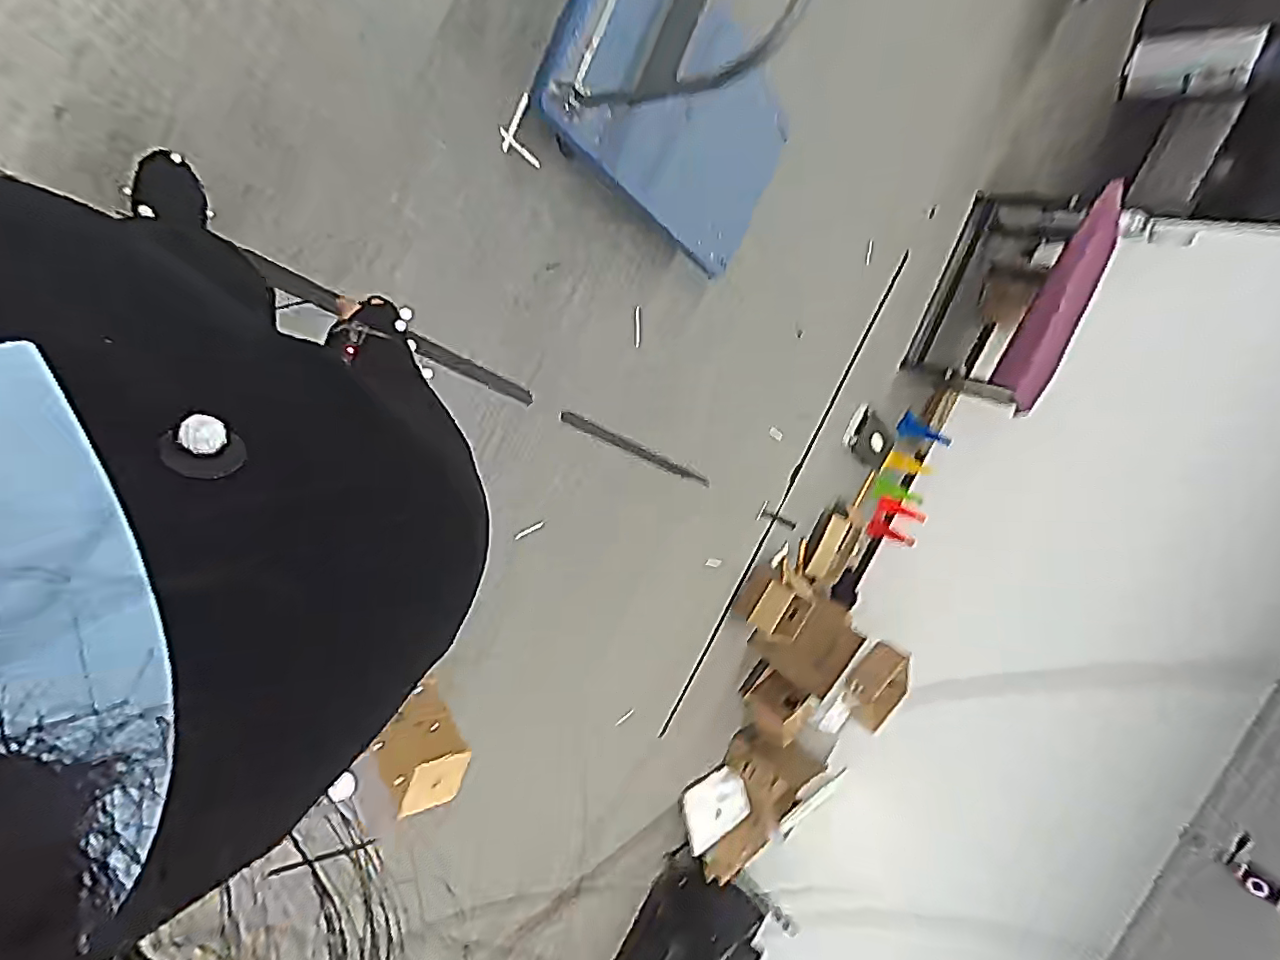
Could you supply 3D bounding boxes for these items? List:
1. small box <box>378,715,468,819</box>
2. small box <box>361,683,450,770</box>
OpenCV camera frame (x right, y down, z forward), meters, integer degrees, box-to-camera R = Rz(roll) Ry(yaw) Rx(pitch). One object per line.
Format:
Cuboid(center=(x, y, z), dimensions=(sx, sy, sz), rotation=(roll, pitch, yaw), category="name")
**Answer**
Cuboid(center=(-0.624, 0.808, 1.542), dimensions=(0.168, 0.176, 0.179), rotation=(10, 104, -49), category="small box")
Cuboid(center=(-0.725, 0.749, 1.655), dimensions=(0.168, 0.176, 0.179), rotation=(28, 91, -51), category="small box")
